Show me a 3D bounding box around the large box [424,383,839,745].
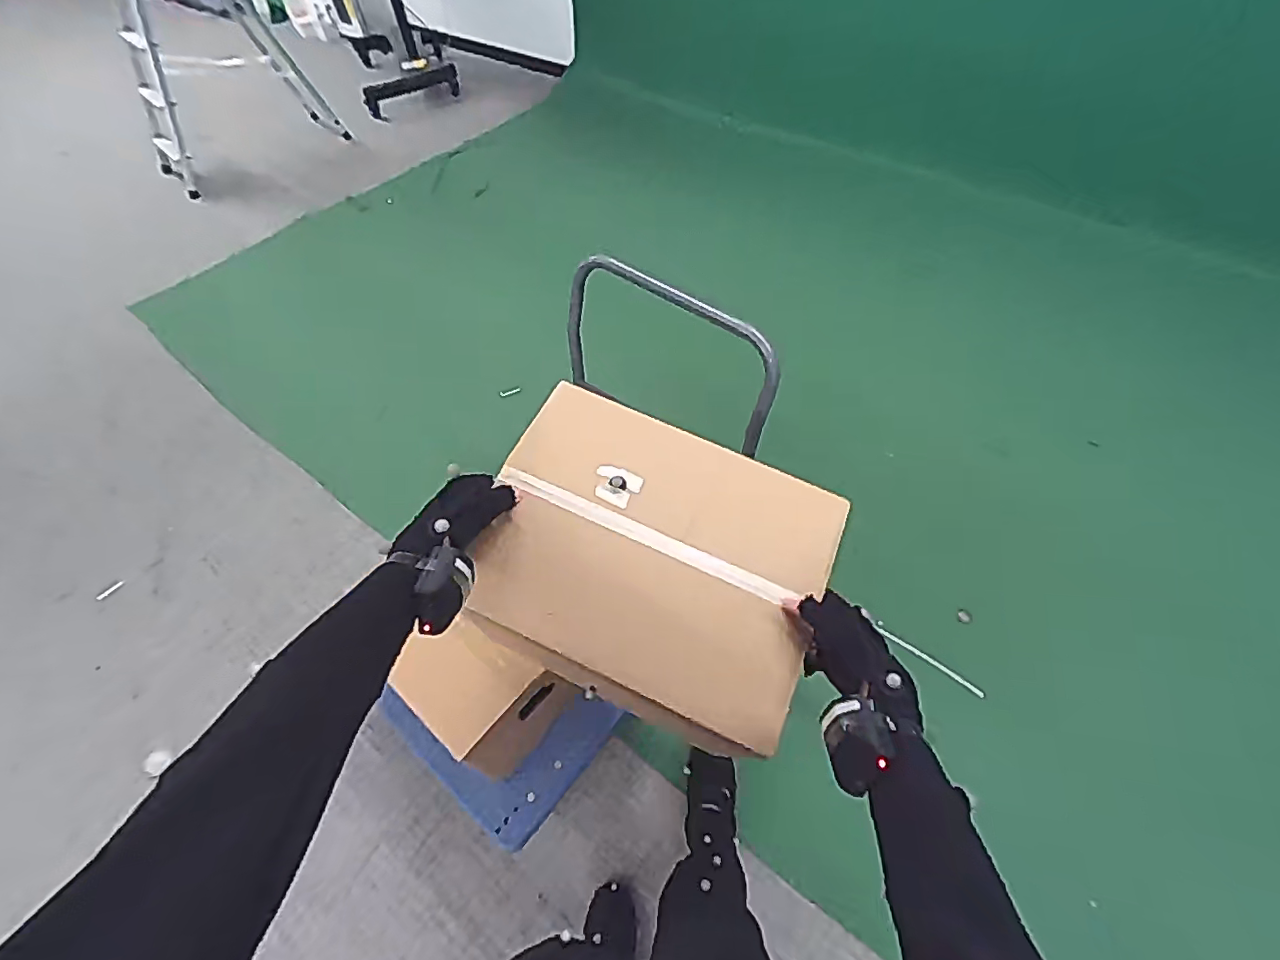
[{"bbox_3d":[0.000,0.132,0.758,0.408,0.320,0.320,23,65,9],"label":"large box"}]
